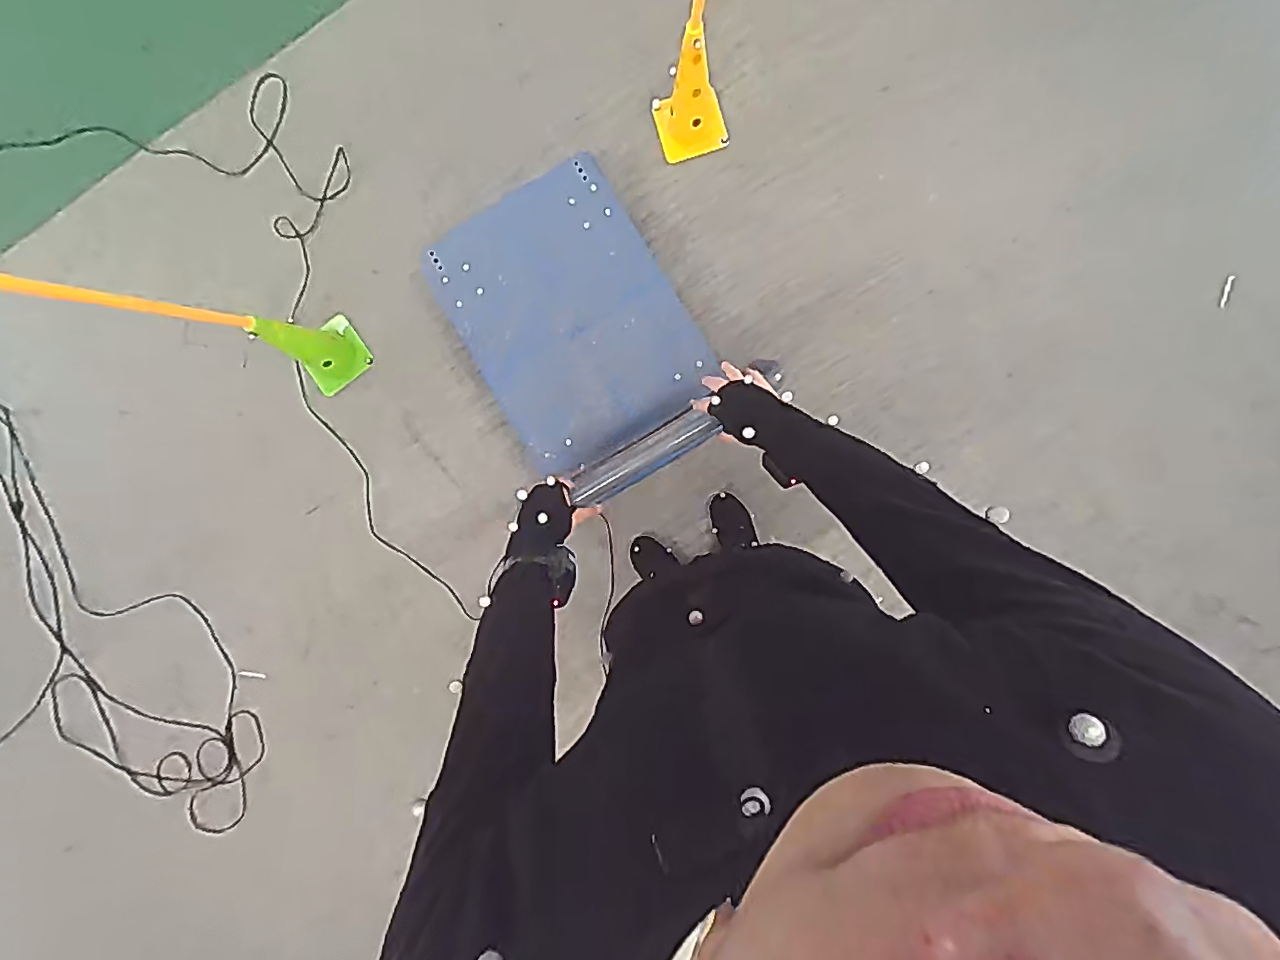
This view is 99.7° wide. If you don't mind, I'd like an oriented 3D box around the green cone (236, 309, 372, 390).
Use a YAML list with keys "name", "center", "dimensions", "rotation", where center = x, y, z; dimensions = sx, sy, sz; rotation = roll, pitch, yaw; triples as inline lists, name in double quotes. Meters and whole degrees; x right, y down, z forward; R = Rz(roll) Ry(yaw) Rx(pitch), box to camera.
- name: "green cone"
  center: [-0.991, -0.416, 1.552]
  dimensions: [0.202, 0.368, 0.200]
  rotation: [-37, 87, 5]
